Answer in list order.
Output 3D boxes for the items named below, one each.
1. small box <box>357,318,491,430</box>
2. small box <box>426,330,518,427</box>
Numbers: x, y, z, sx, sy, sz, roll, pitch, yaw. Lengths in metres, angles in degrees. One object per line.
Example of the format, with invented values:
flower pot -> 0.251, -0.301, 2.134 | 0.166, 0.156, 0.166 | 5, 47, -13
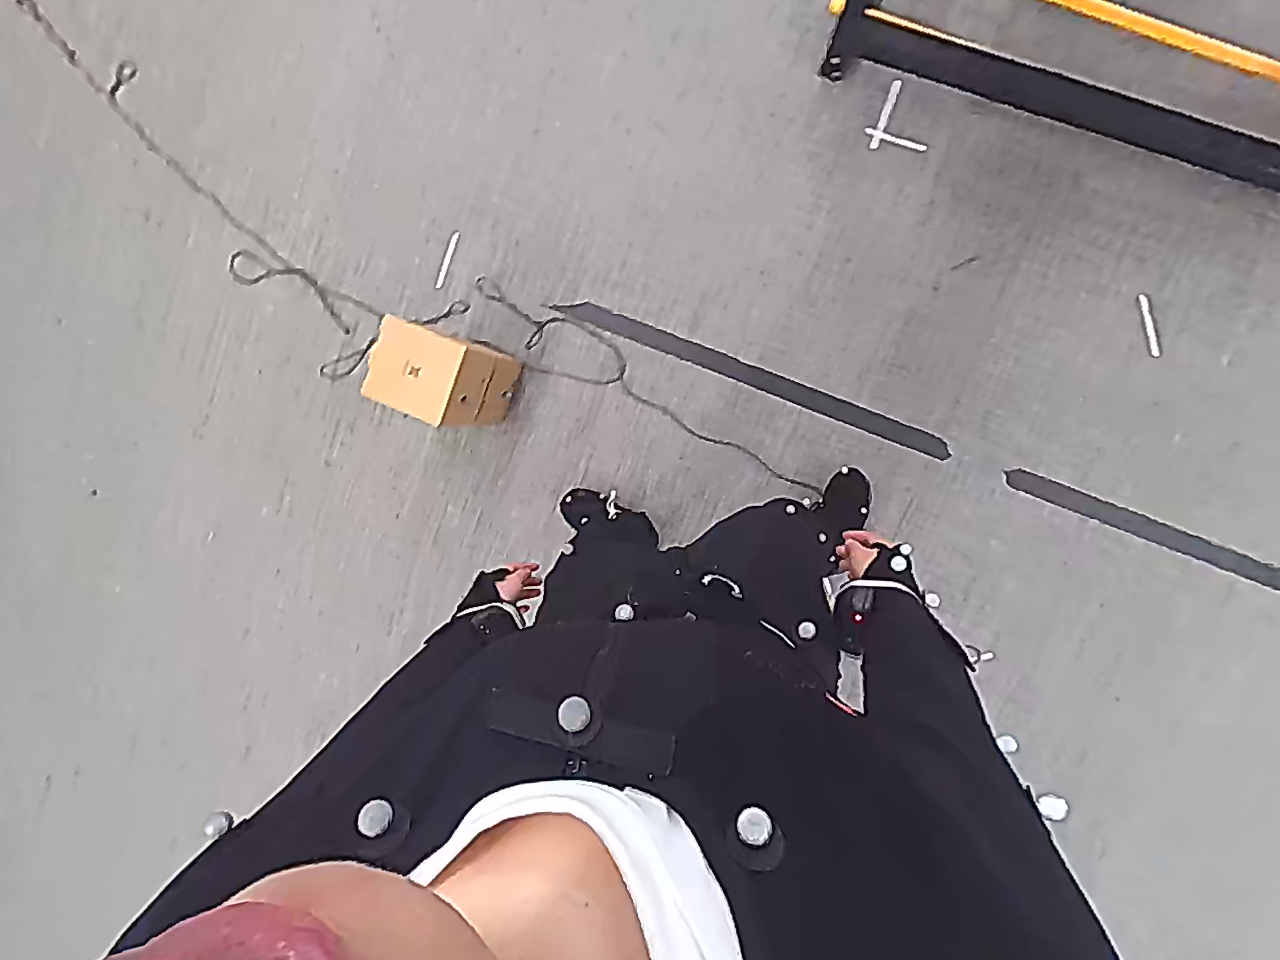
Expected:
small box -> -0.431, -0.211, 1.106 | 0.179, 0.176, 0.168 | 22, 98, 4
small box -> -0.413, -0.231, 1.266 | 0.179, 0.176, 0.168 | 22, 99, 3
